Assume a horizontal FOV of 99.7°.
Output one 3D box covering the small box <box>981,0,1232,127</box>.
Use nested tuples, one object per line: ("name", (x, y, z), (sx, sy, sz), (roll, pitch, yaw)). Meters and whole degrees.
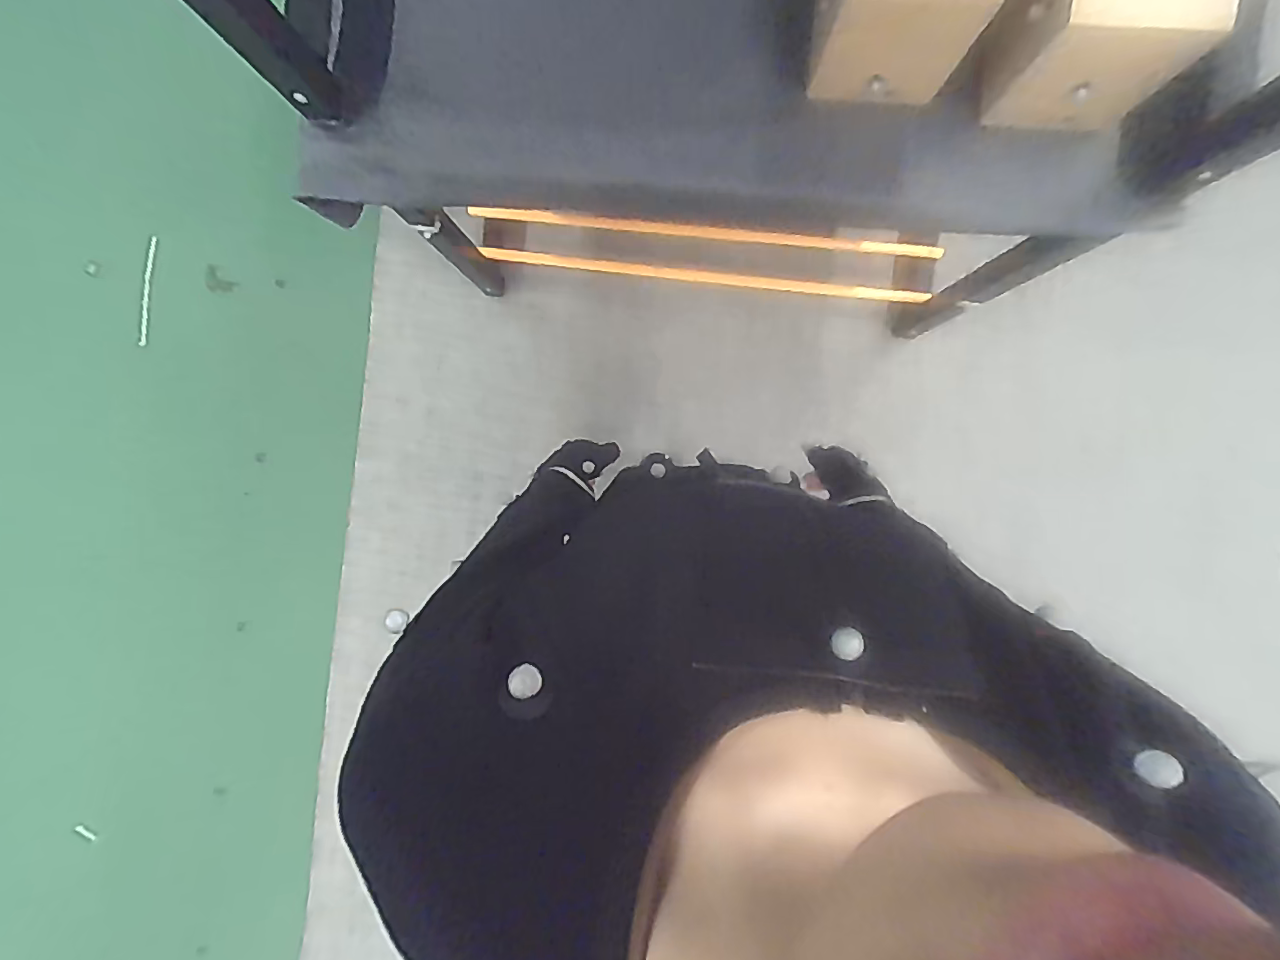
("small box", (0.538, -0.555, 0.640), (0.168, 0.176, 0.179), (5, 91, 3))
